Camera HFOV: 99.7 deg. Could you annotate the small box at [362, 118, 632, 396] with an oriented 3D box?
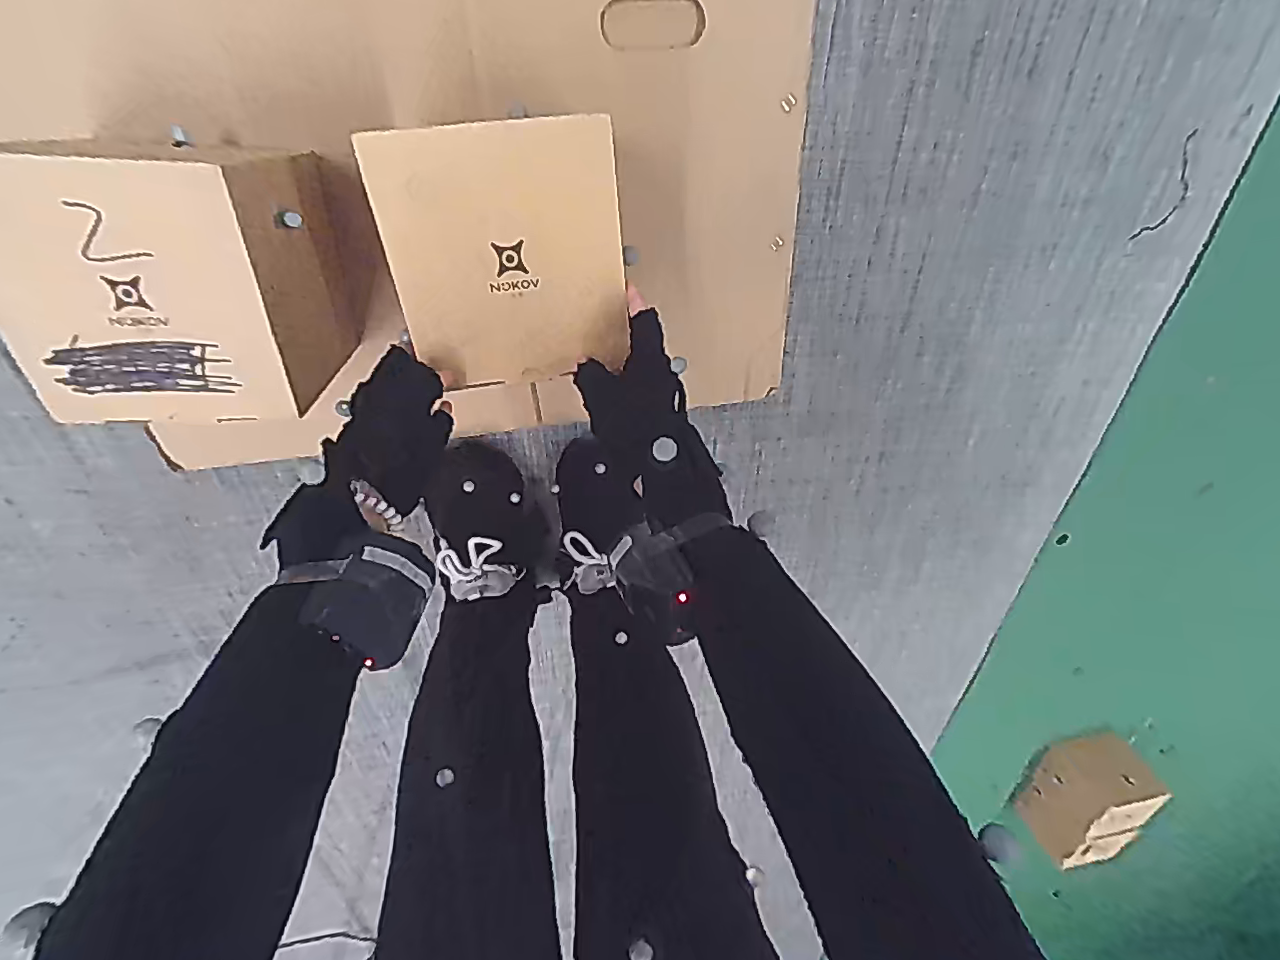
[{"bbox_3d":[-0.108,-0.193,0.458,0.168,0.176,0.179,-10,123,-7],"label":"small box"}]
